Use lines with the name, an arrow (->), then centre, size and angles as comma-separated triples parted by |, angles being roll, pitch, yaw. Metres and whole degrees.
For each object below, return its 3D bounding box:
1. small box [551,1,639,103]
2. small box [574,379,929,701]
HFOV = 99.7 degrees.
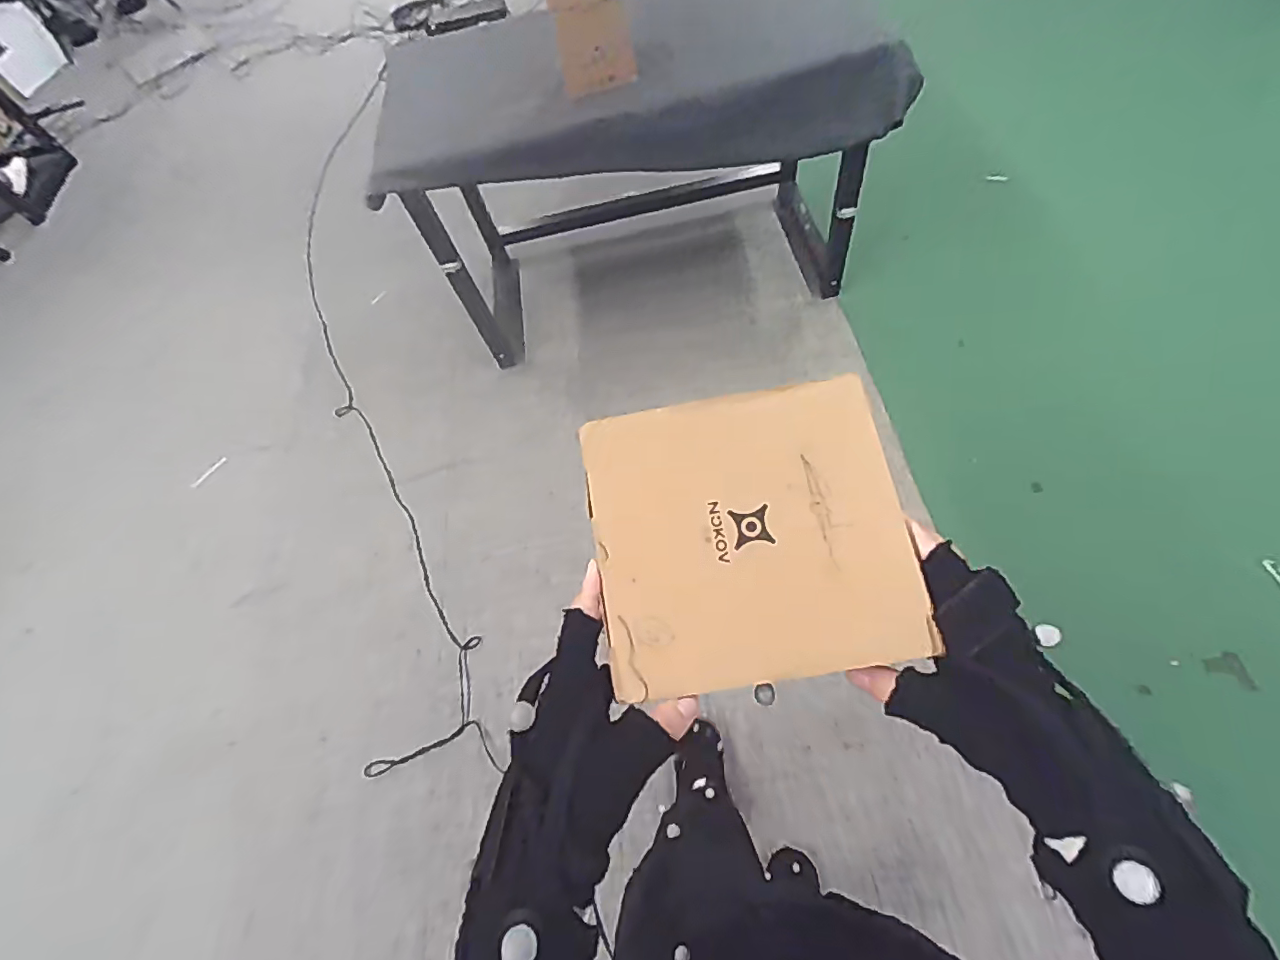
small box -> -0.103, -0.998, 1.238 | 0.168, 0.176, 0.179 | -11, 60, 4
small box -> 0.063, 0.052, 0.388 | 0.179, 0.176, 0.168 | -11, 73, 1
